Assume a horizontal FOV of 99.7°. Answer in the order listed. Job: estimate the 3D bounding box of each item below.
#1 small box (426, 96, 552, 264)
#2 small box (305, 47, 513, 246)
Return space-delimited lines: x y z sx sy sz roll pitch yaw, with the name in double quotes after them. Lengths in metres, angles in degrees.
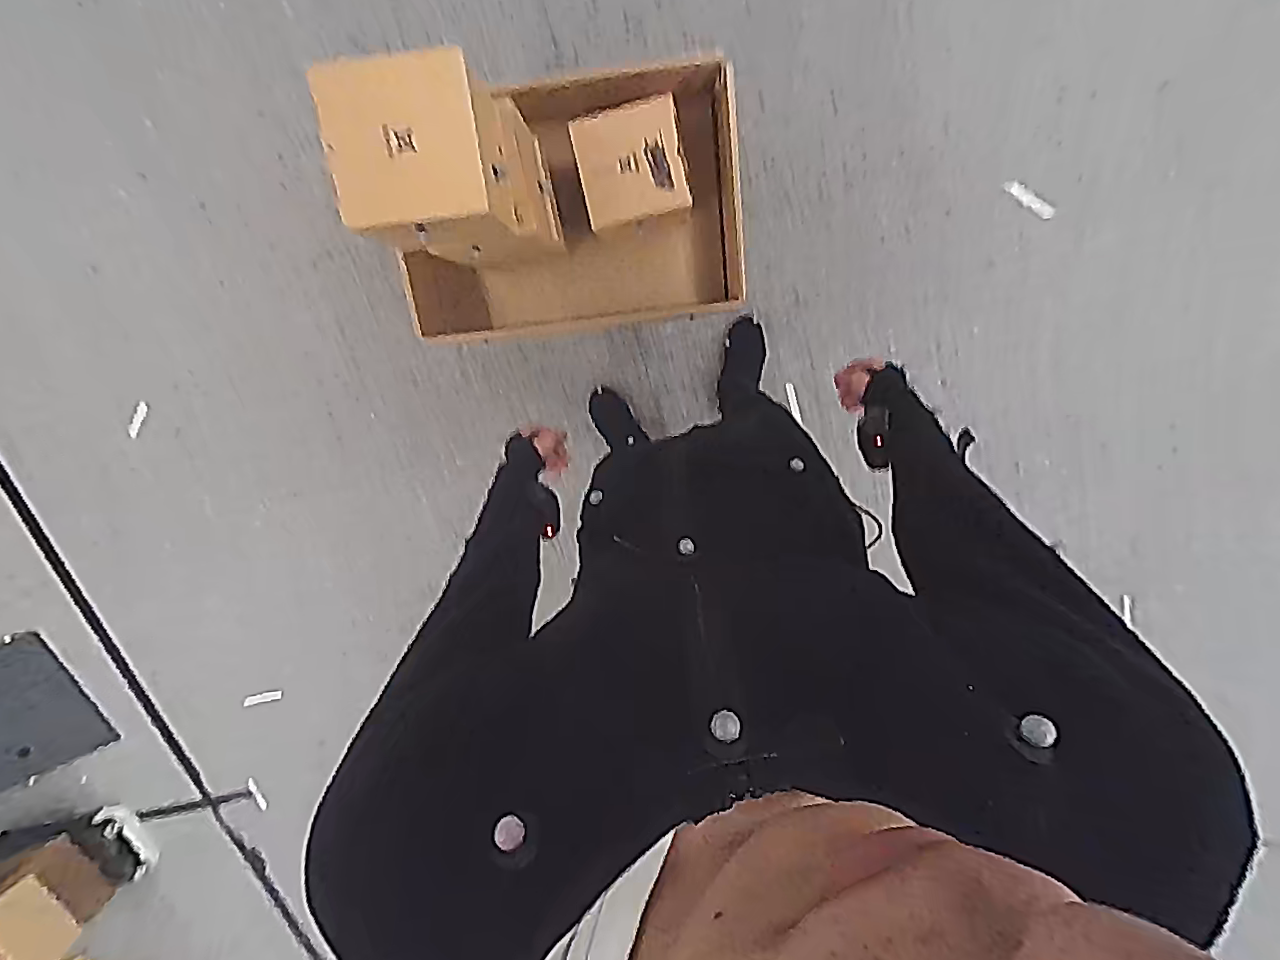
-0.241 -0.446 0.832 0.168 0.176 0.179 -9 105 3 "small box"
-0.266 -0.398 0.676 0.179 0.176 0.168 -6 106 2 "small box"
